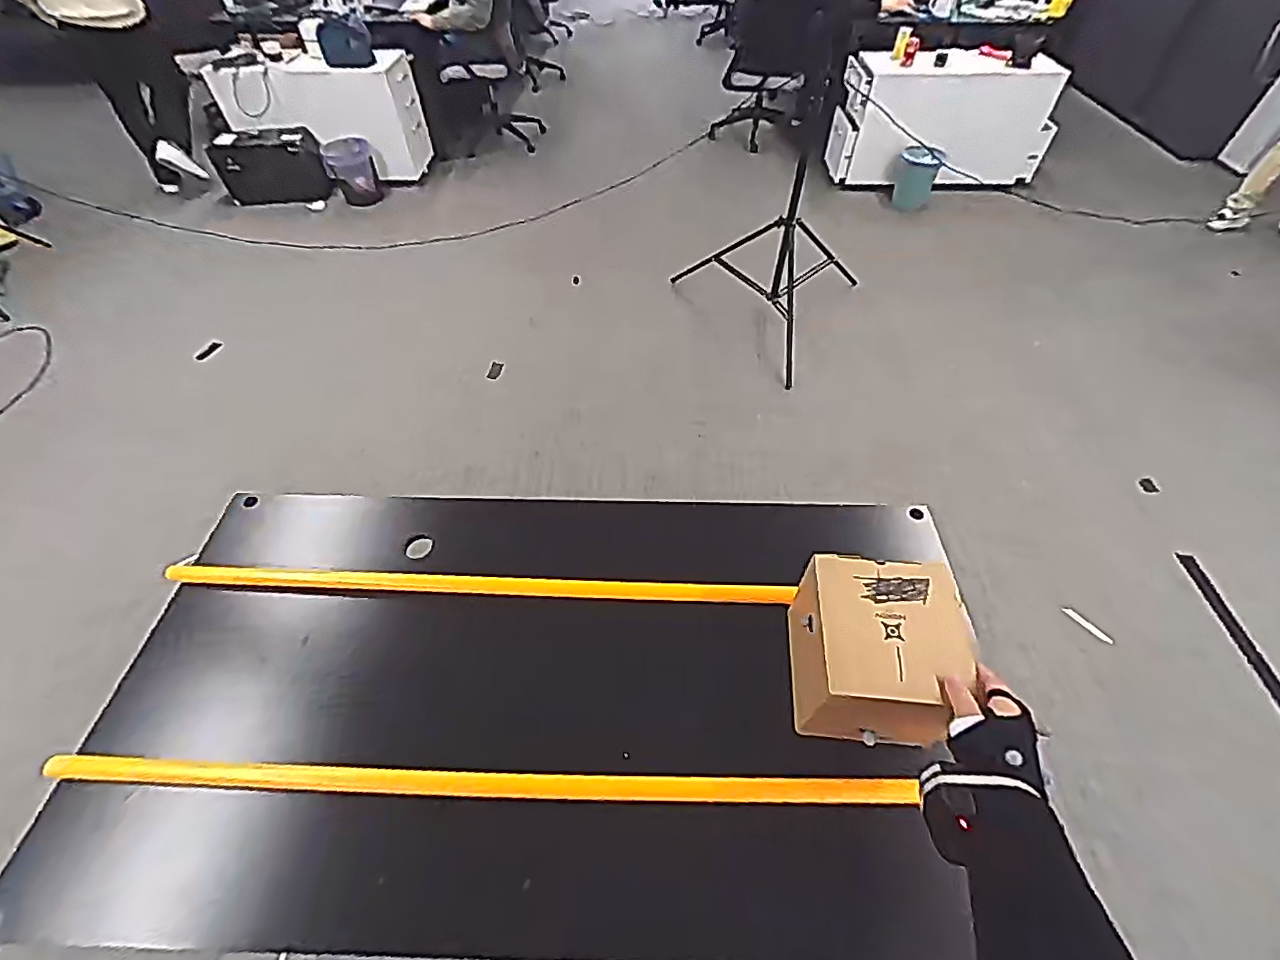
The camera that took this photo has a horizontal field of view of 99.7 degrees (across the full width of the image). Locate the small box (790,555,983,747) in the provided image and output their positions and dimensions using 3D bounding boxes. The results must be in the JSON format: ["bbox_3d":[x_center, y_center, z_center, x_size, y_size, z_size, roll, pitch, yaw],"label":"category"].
[{"bbox_3d":[0.292,0.219,0.690,0.168,0.176,0.179,4,52,5],"label":"small box"}]
